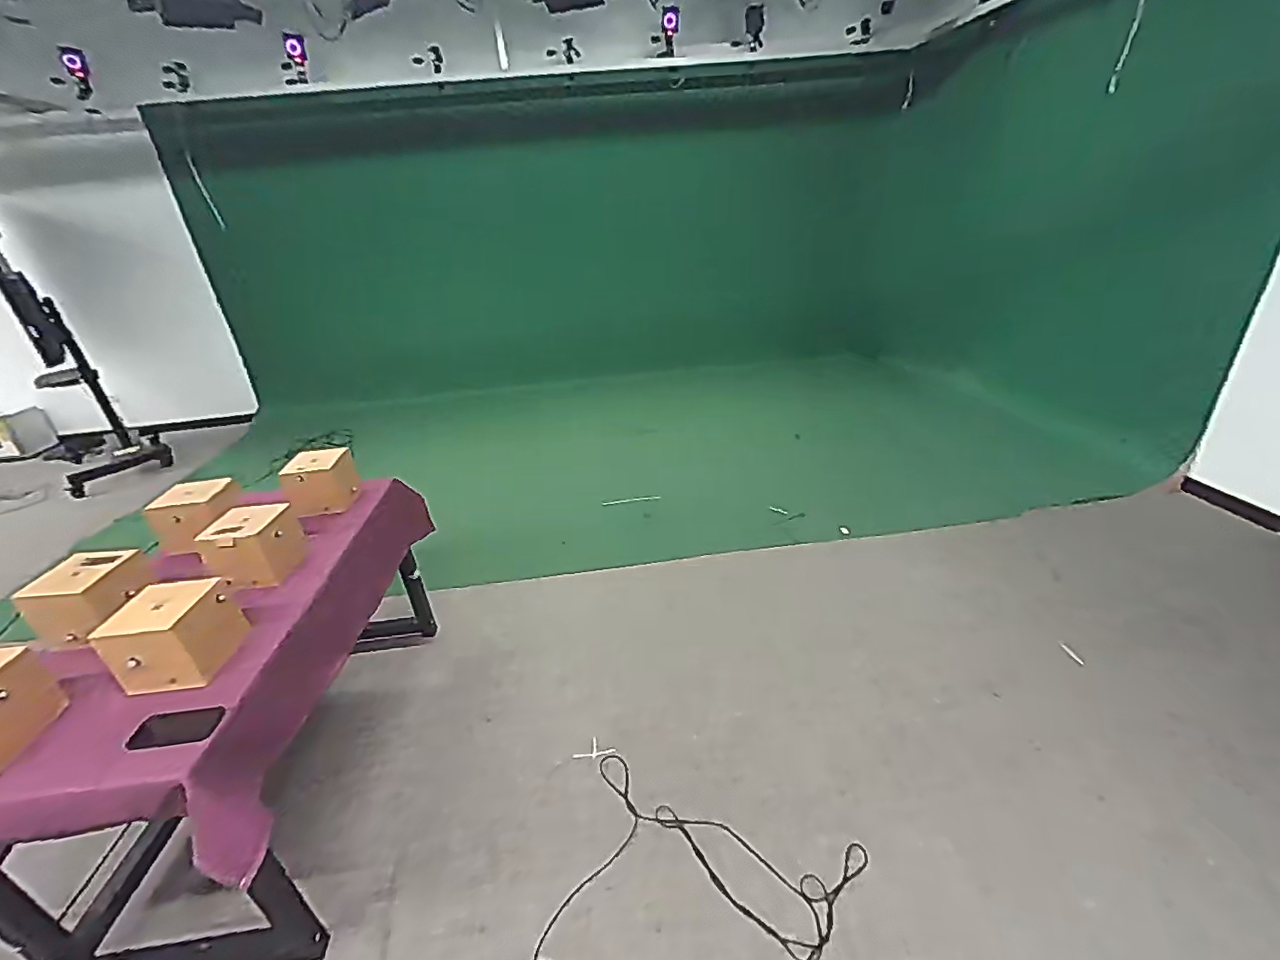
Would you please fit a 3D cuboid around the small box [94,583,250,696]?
[{"bbox_3d":[-1.011,0.355,1.191,0.168,0.176,0.179,-6,26,-1],"label":"small box"}]

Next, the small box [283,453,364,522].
[{"bbox_3d":[-1.074,0.025,1.853,0.168,0.176,0.179,-8,27,-3],"label":"small box"}]

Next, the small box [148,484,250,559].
[{"bbox_3d":[-1.363,0.131,1.695,0.179,0.176,0.168,-7,27,-5],"label":"small box"}]

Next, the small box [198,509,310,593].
[{"bbox_3d":[-1.059,0.200,1.504,0.168,0.176,0.179,-5,26,0],"label":"small box"}]
